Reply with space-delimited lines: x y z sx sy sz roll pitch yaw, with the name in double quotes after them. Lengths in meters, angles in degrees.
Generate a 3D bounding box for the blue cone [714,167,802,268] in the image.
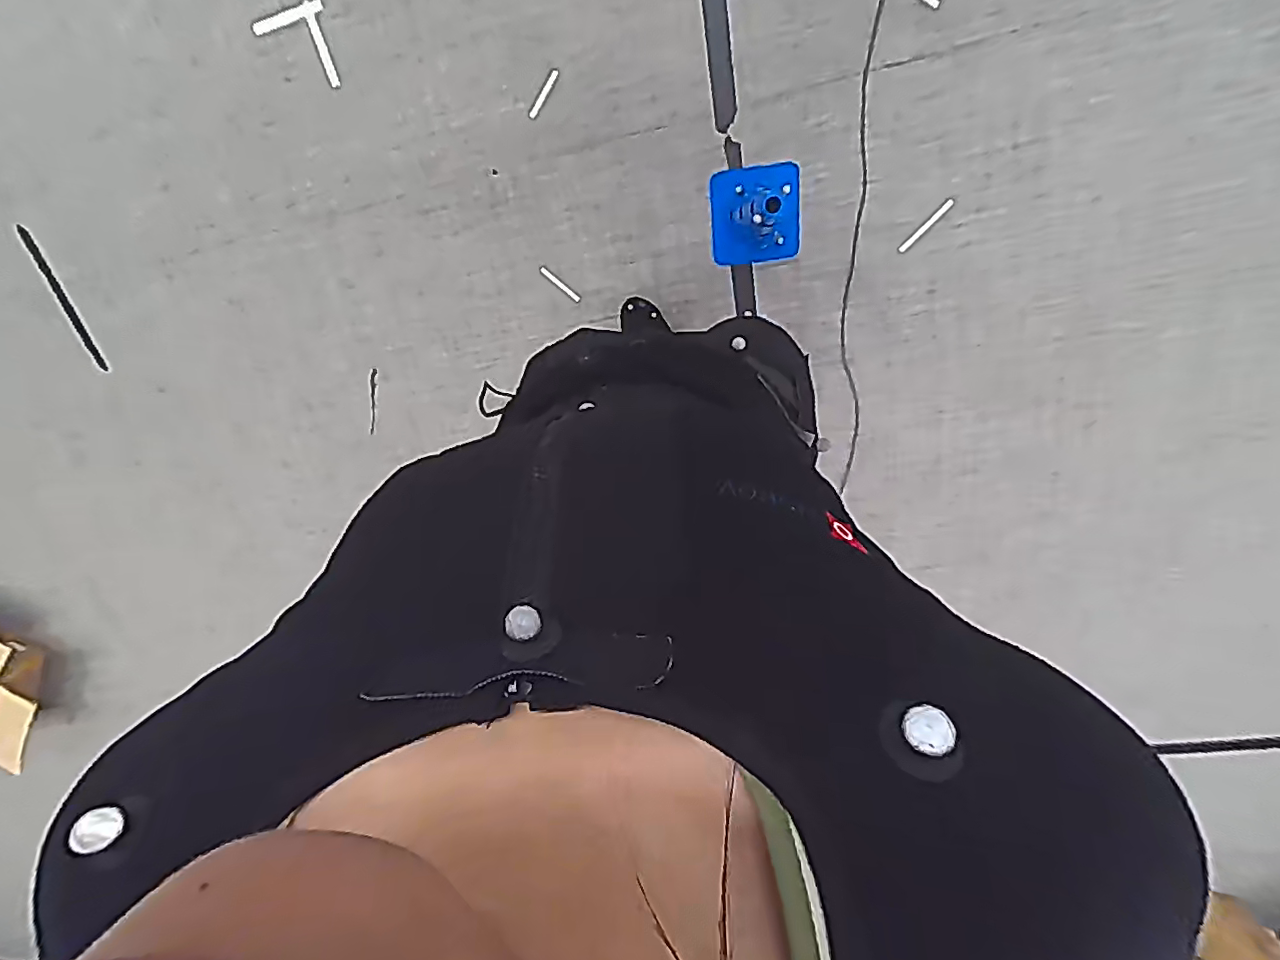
0.251 -0.531 1.074 0.193 0.380 0.192 -6 112 8 "blue cone"
